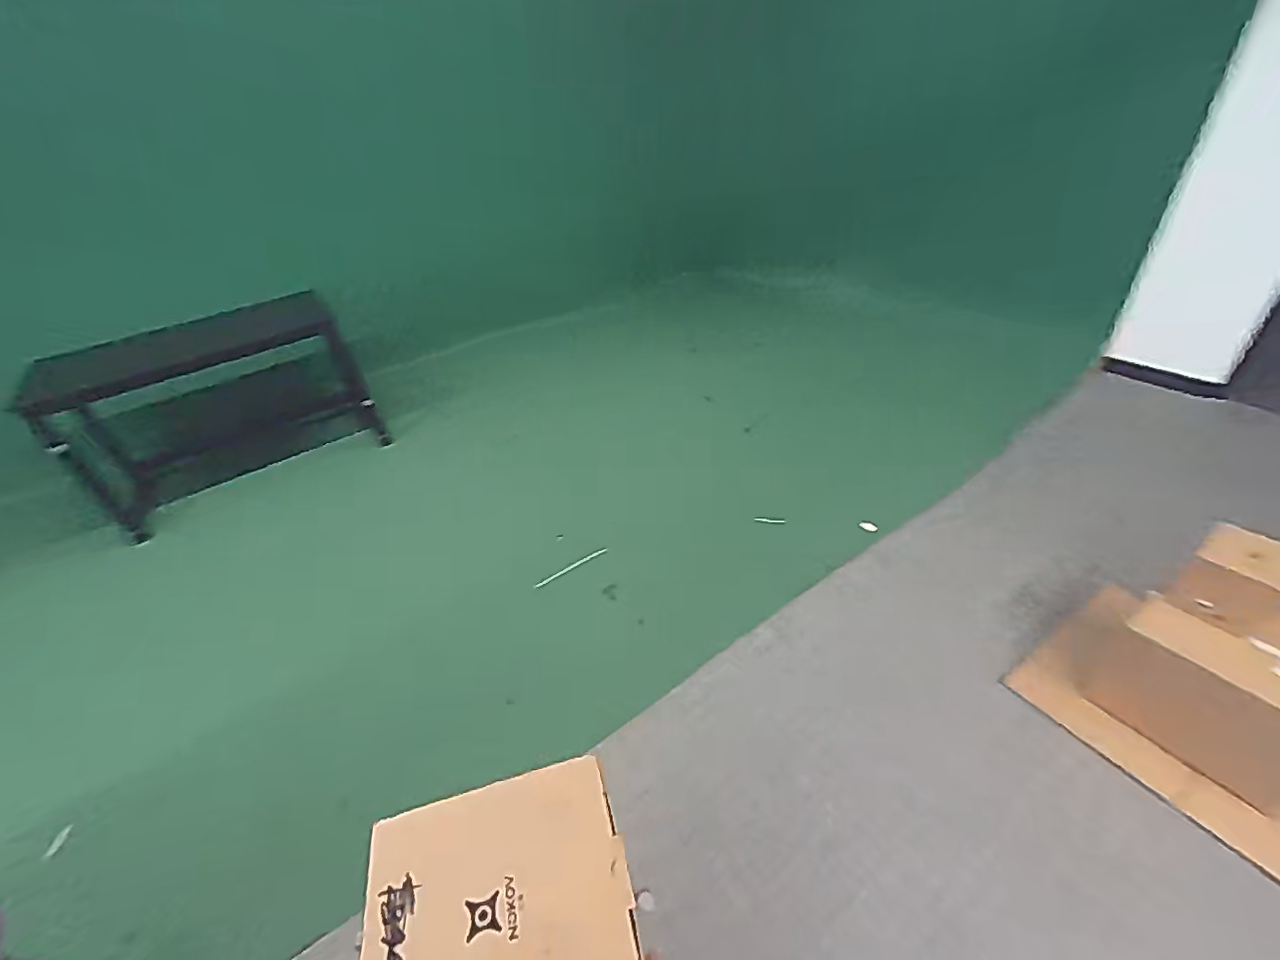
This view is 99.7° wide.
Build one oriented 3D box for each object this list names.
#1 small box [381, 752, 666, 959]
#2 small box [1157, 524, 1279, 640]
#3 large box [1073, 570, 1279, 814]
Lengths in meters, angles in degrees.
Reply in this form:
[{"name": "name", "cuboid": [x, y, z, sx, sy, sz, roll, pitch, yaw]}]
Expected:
[{"name": "small box", "cuboid": [-0.079, 0.343, 0.411, 0.179, 0.176, 0.168, -11, 39, -9]}, {"name": "small box", "cuboid": [1.402, 0.243, 1.297, 0.179, 0.176, 0.168, -28, 42, -26]}, {"name": "large box", "cuboid": [1.425, 0.508, 1.349, 0.320, 0.320, 0.408, -28, 43, -24]}]
